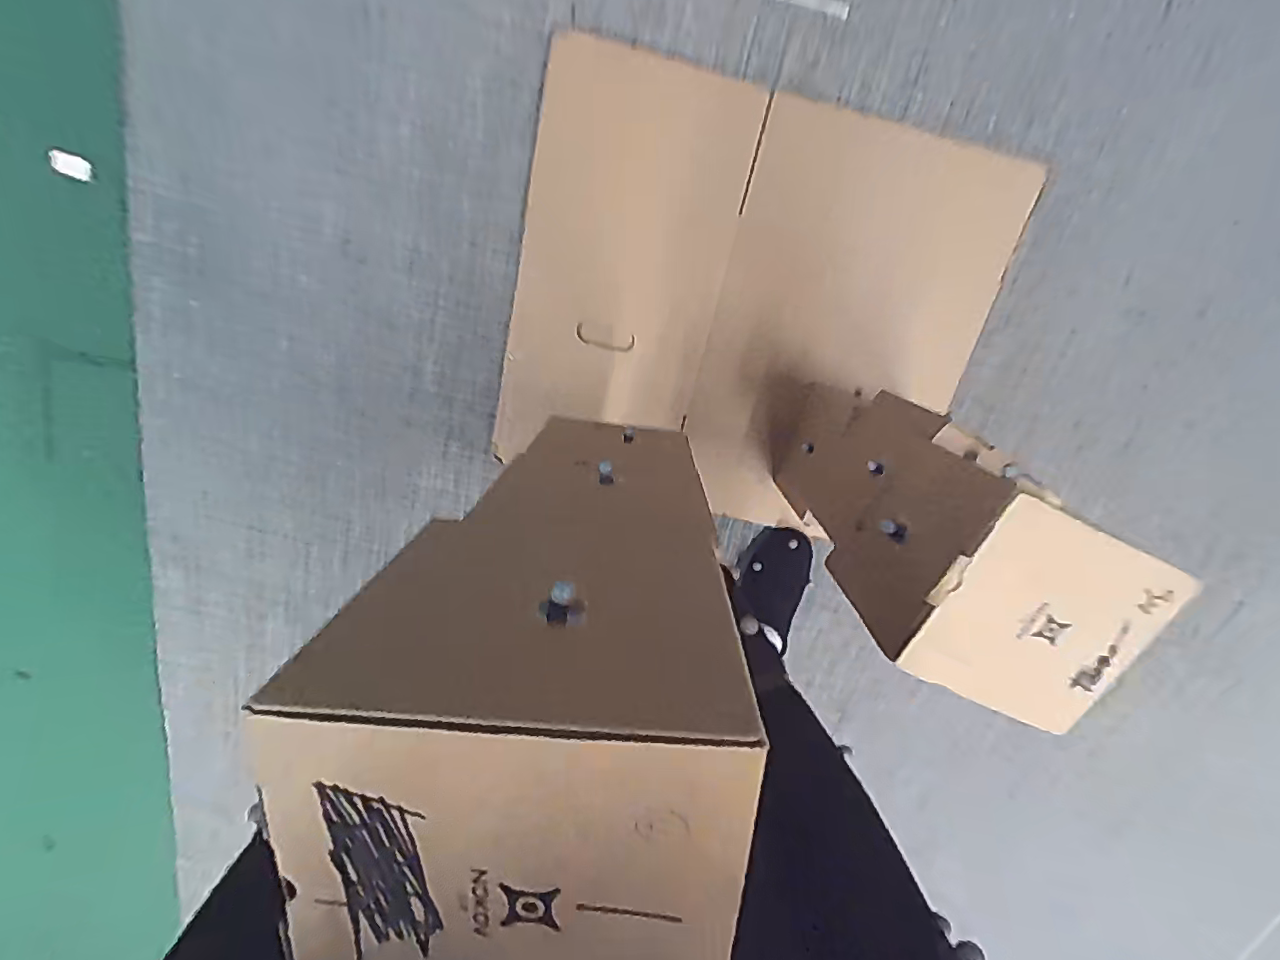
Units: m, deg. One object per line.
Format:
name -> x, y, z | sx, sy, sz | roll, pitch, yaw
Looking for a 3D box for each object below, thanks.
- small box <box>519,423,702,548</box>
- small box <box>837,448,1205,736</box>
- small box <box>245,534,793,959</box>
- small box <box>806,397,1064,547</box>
small box -> -0.033, 0.049, 0.587 | 0.168, 0.176, 0.179 | 7, 108, -2
small box -> 0.313, 0.084, 0.493 | 0.179, 0.176, 0.168 | 25, 107, -7
small box -> -0.043, 0.136, 0.269 | 0.179, 0.176, 0.168 | 4, 108, -1
small box -> 0.328, 0.023, 0.644 | 0.168, 0.176, 0.179 | 33, 106, -11
